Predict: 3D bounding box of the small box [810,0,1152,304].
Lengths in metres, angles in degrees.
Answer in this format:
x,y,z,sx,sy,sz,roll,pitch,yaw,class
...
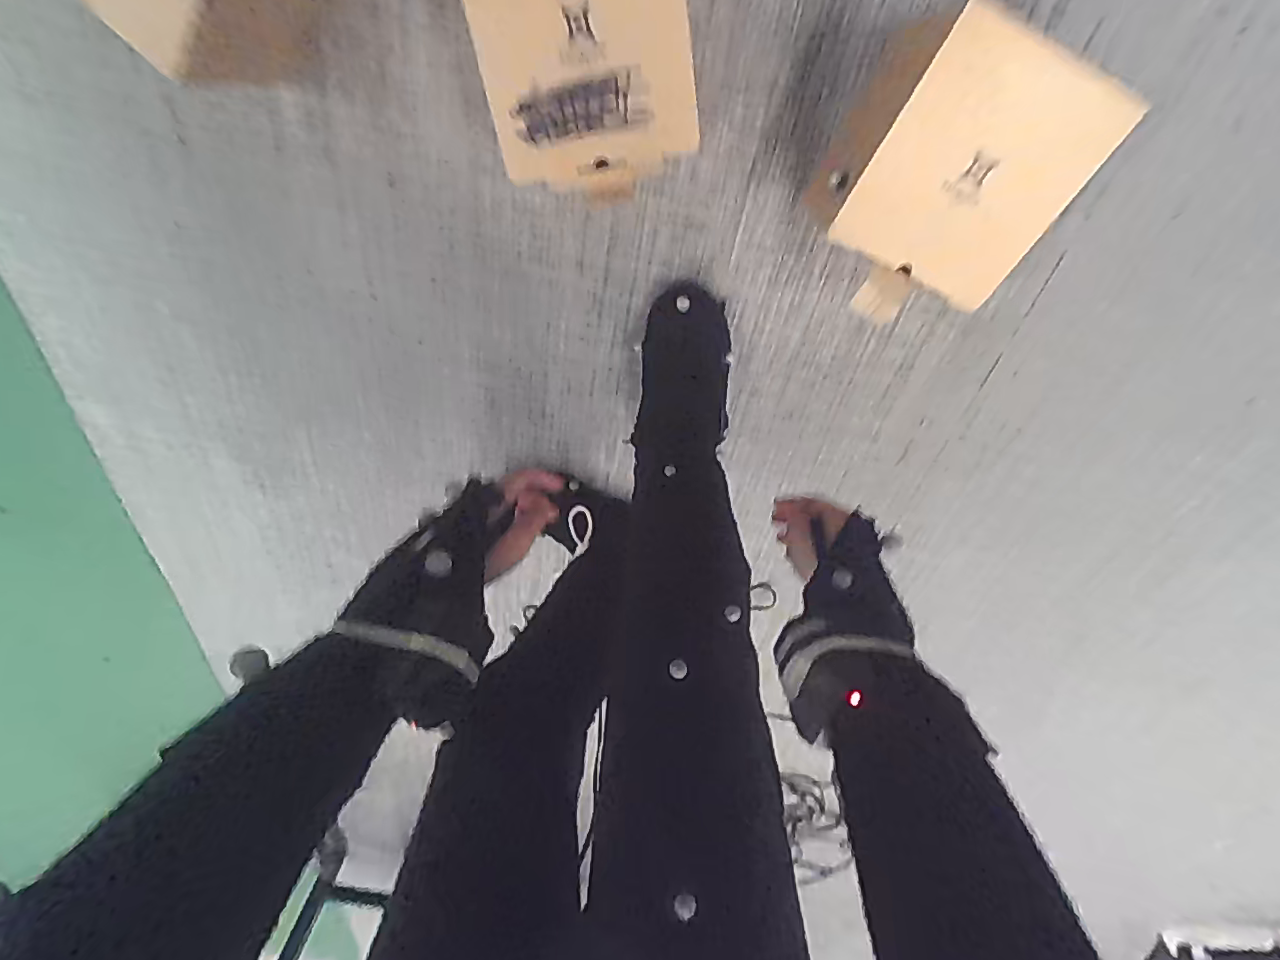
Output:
x,y,z,sx,sy,sz,roll,pitch,yaw,class
0.277,-0.299,0.494,0.168,0.176,0.179,22,127,-10,small box
